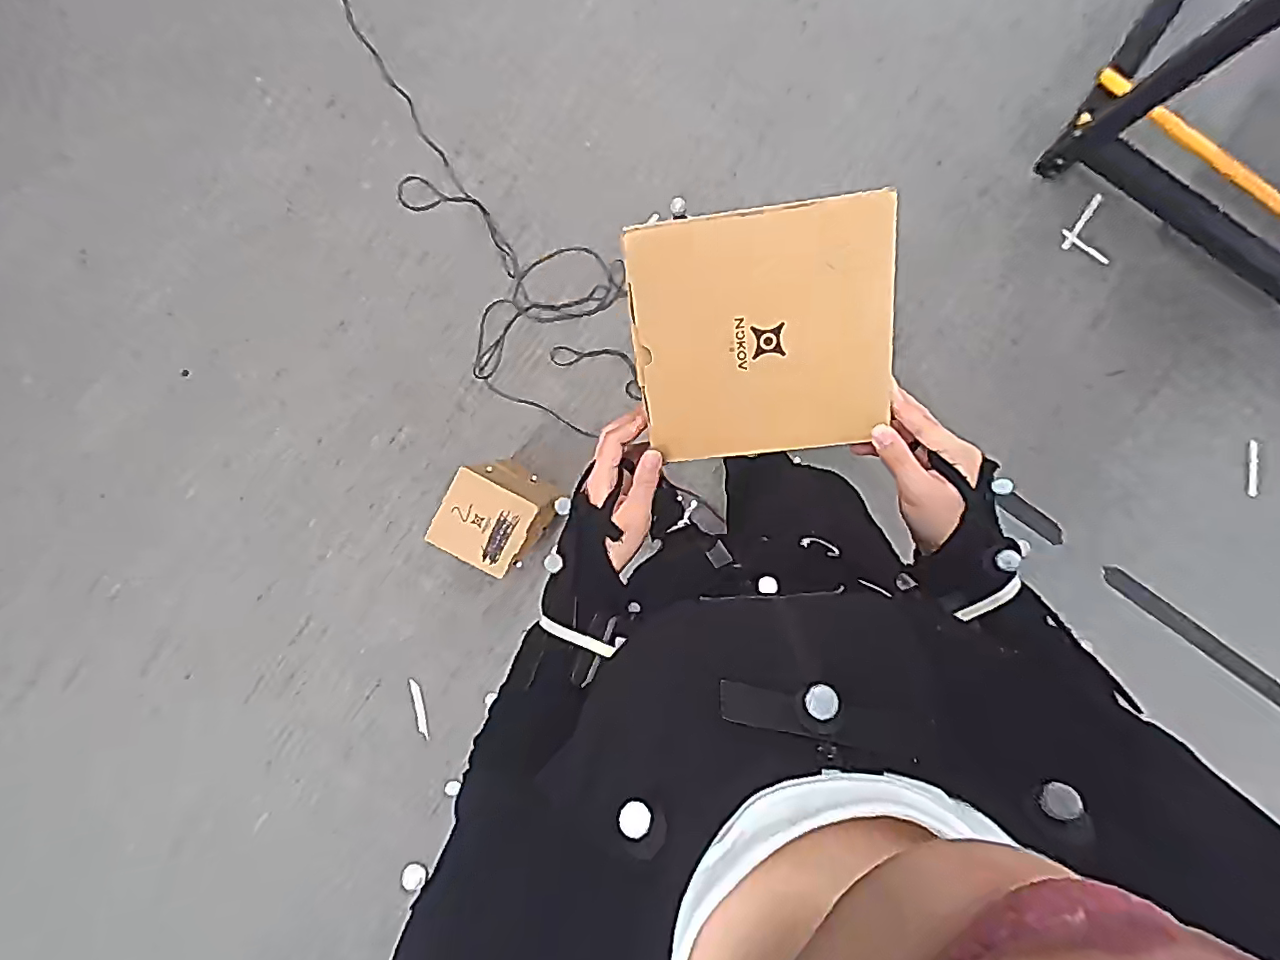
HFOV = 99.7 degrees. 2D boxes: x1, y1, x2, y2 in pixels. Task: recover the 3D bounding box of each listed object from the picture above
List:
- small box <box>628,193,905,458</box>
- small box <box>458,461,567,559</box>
[{"bbox_3d":[0.093,-0.130,0.444,0.179,0.176,0.168,-5,113,8],"label":"small box"},{"bbox_3d":[-0.294,0.062,1.293,0.179,0.176,0.168,33,93,-1],"label":"small box"}]
